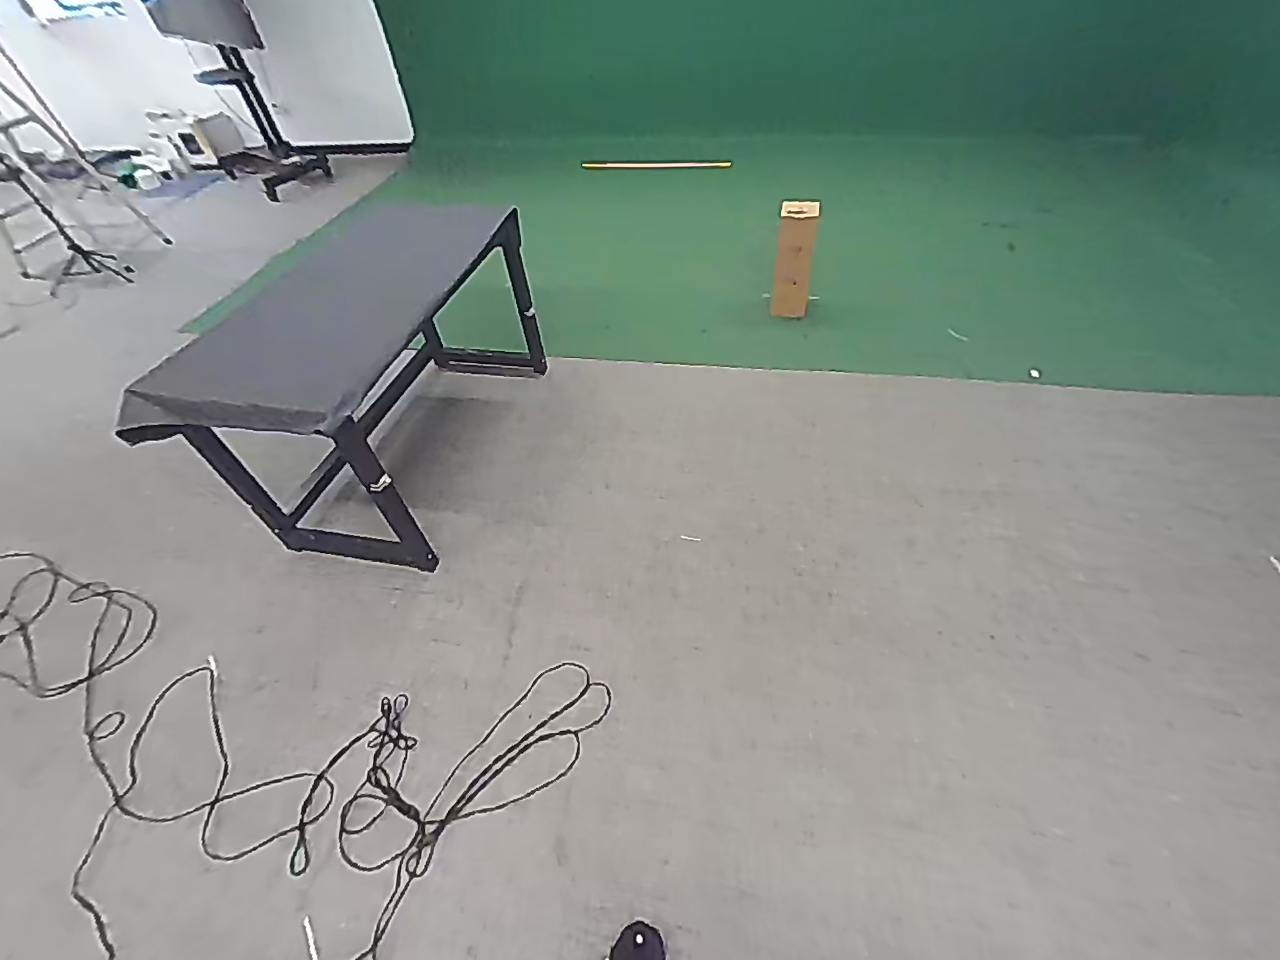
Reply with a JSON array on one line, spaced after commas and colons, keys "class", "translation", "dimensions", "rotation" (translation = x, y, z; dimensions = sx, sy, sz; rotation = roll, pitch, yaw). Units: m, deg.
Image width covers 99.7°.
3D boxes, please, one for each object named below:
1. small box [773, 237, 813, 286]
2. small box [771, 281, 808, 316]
[{"class": "small box", "translation": [0.739, -1.060, 2.619], "dimensions": [0.168, 0.176, 0.179], "rotation": [6, 48, 14]}, {"class": "small box", "translation": [0.757, -0.946, 2.738], "dimensions": [0.168, 0.176, 0.179], "rotation": [4, 47, 12]}]
